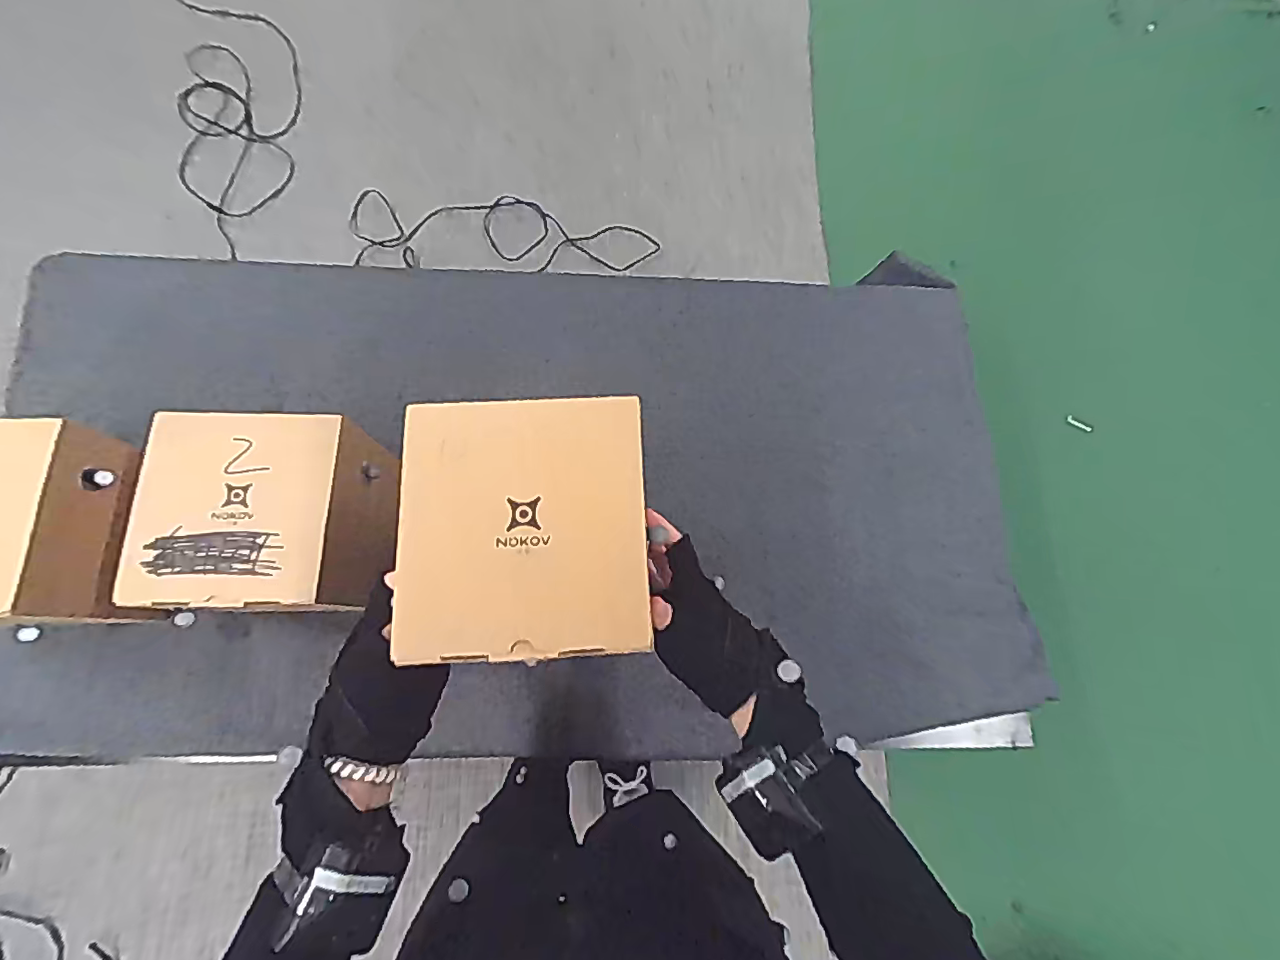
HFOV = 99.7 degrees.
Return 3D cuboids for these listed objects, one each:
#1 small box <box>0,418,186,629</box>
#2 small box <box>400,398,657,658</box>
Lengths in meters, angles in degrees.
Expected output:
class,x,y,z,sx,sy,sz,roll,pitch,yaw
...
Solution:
class,x,y,z,sx,sy,sz,roll,pitch,yaw
small box,-0.596,0.052,0.527,0.168,0.176,0.179,-1,75,-6
small box,-0.077,0.047,0.442,0.168,0.176,0.179,-2,76,-3
